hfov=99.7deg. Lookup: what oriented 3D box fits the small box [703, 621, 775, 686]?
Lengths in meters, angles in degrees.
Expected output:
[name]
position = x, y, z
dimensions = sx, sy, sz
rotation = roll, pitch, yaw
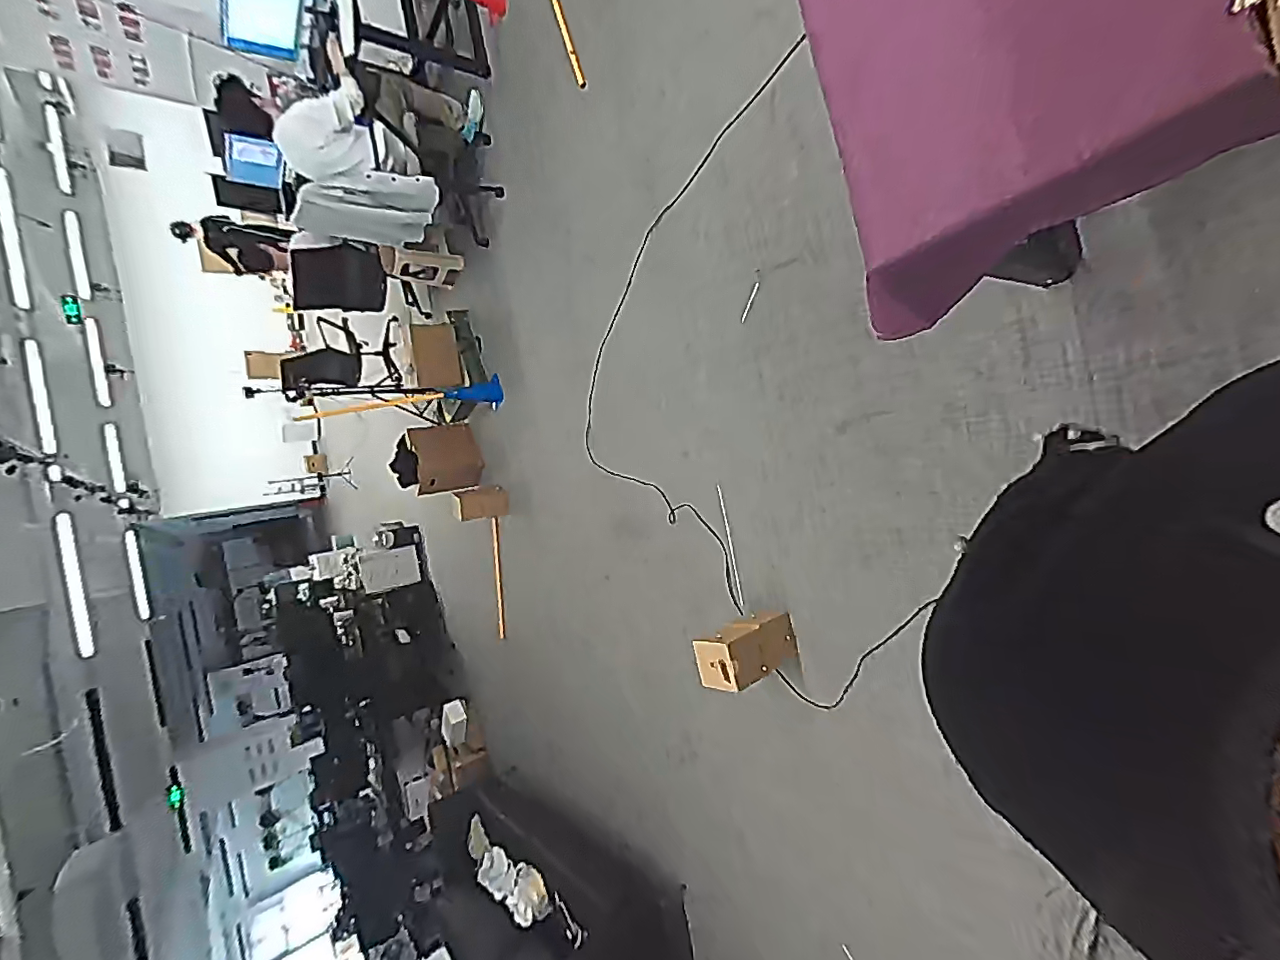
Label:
[small box]
position = 0.354, 0.601, 1.896
dimensions = 0.179, 0.176, 0.168
rotation = -17, 85, 54
